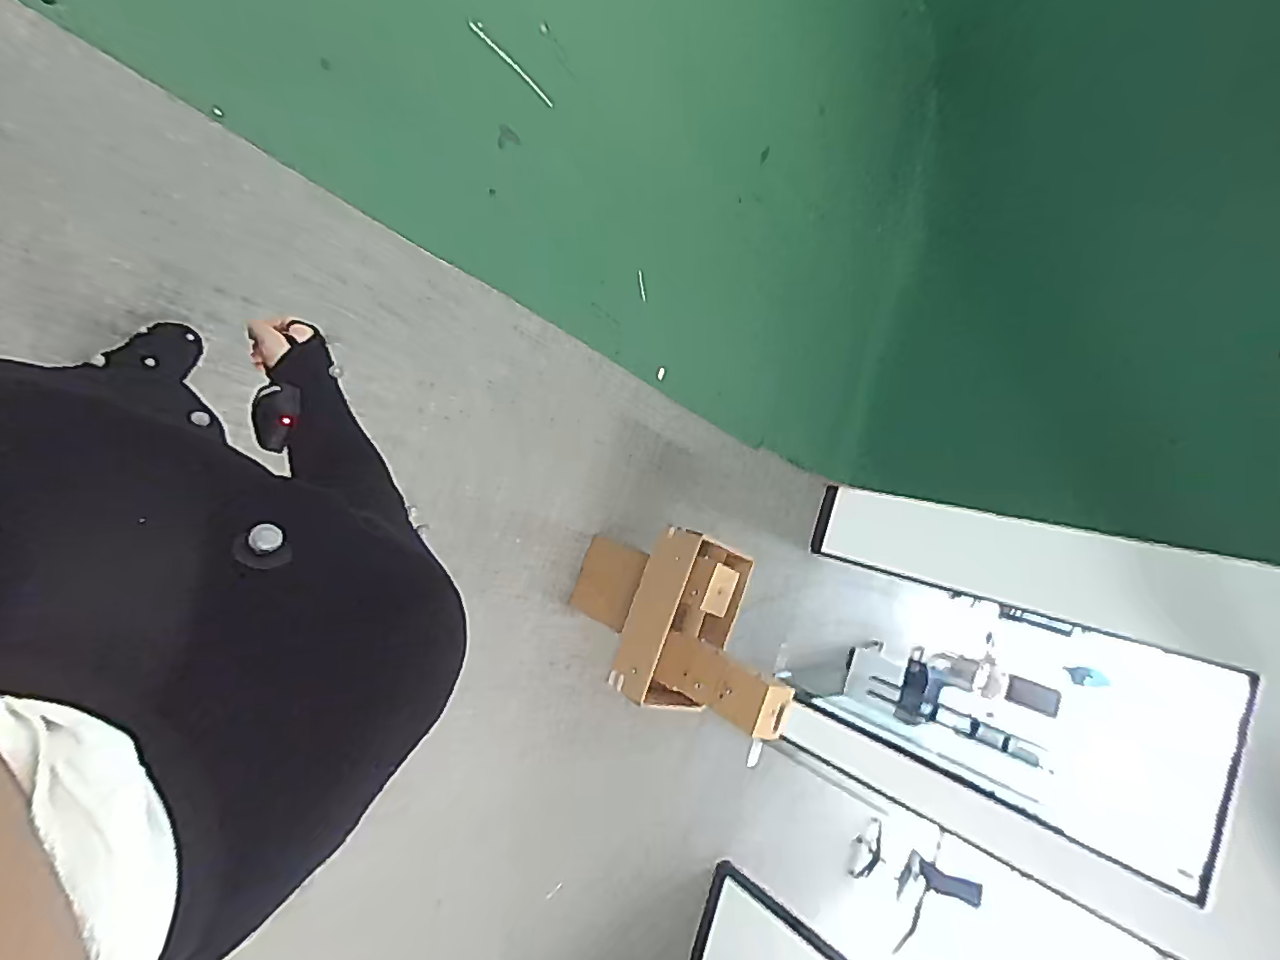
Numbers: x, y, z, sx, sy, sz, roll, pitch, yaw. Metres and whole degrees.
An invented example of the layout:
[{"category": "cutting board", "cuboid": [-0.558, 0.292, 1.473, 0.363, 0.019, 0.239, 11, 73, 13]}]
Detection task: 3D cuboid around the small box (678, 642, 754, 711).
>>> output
[{"category": "small box", "cuboid": [0.259, 0.673, 1.862, 0.179, 0.176, 0.168, 28, 81, -45]}]
